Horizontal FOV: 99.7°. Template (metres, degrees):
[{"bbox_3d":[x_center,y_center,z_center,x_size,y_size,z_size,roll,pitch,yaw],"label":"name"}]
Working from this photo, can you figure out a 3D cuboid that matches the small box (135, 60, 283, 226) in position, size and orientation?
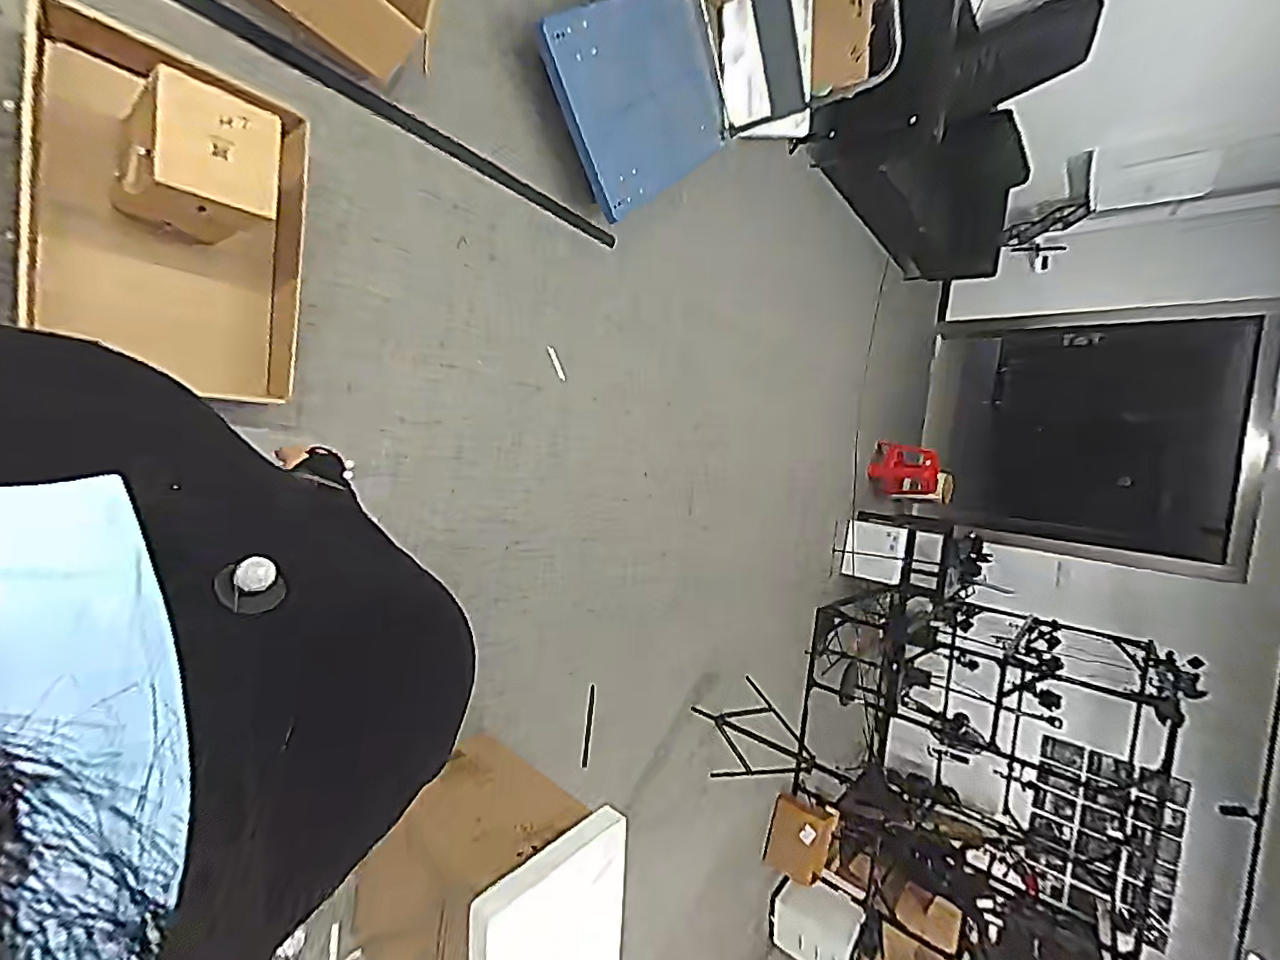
[{"bbox_3d":[-0.748,-0.563,0.938,0.168,0.176,0.179,1,98,-52],"label":"small box"}]
